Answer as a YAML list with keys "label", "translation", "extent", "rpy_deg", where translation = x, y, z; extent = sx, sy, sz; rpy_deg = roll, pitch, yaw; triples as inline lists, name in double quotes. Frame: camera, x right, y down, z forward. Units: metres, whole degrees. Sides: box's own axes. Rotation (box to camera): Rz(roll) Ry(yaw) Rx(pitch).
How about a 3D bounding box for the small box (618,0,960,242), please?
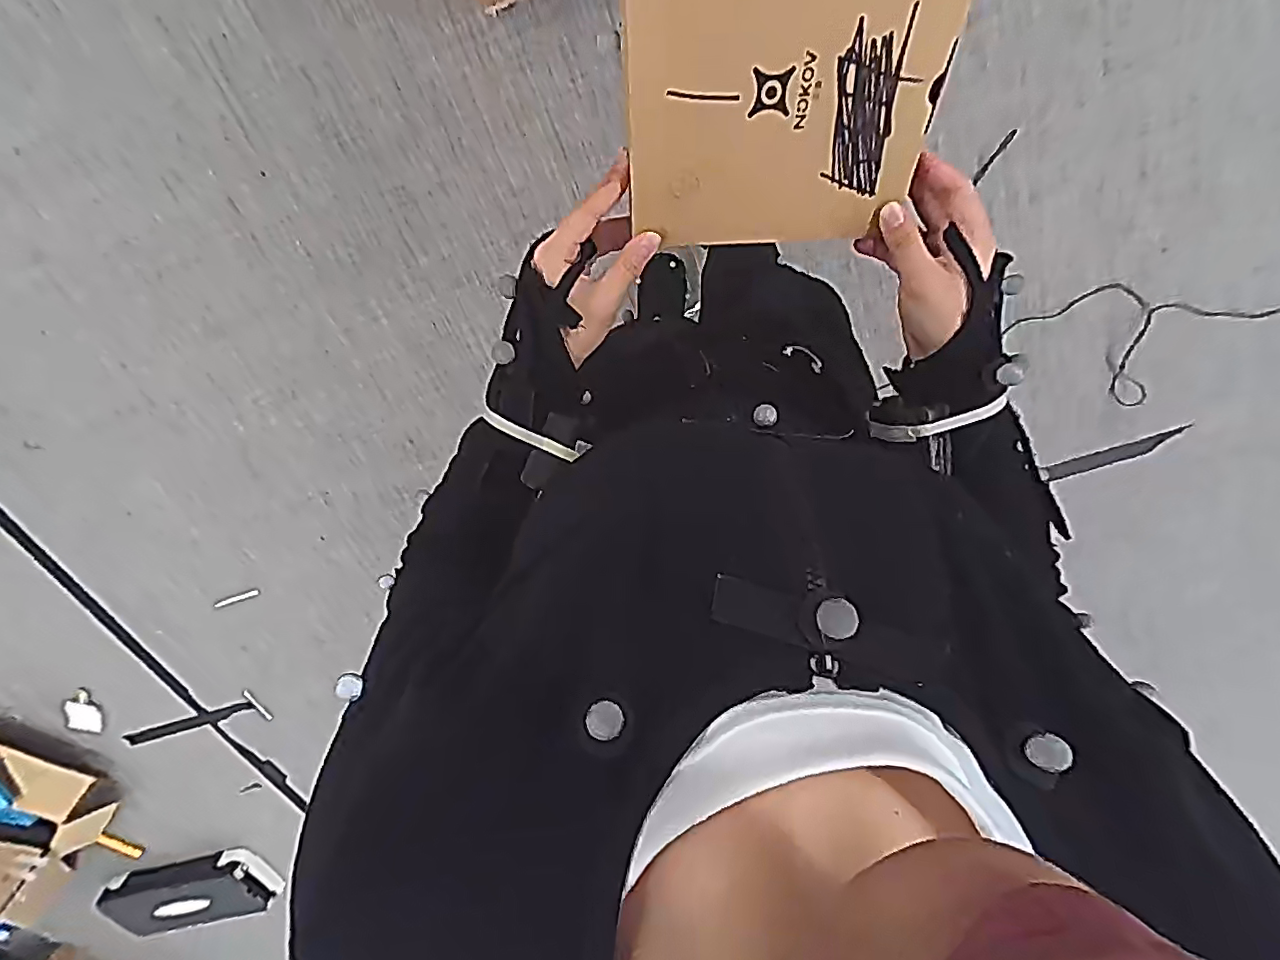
- label: "small box"
  translation: [0.075, -0.277, 0.355]
  extent: [0.179, 0.176, 0.168]
  rpy_deg: [-2, 138, 0]
